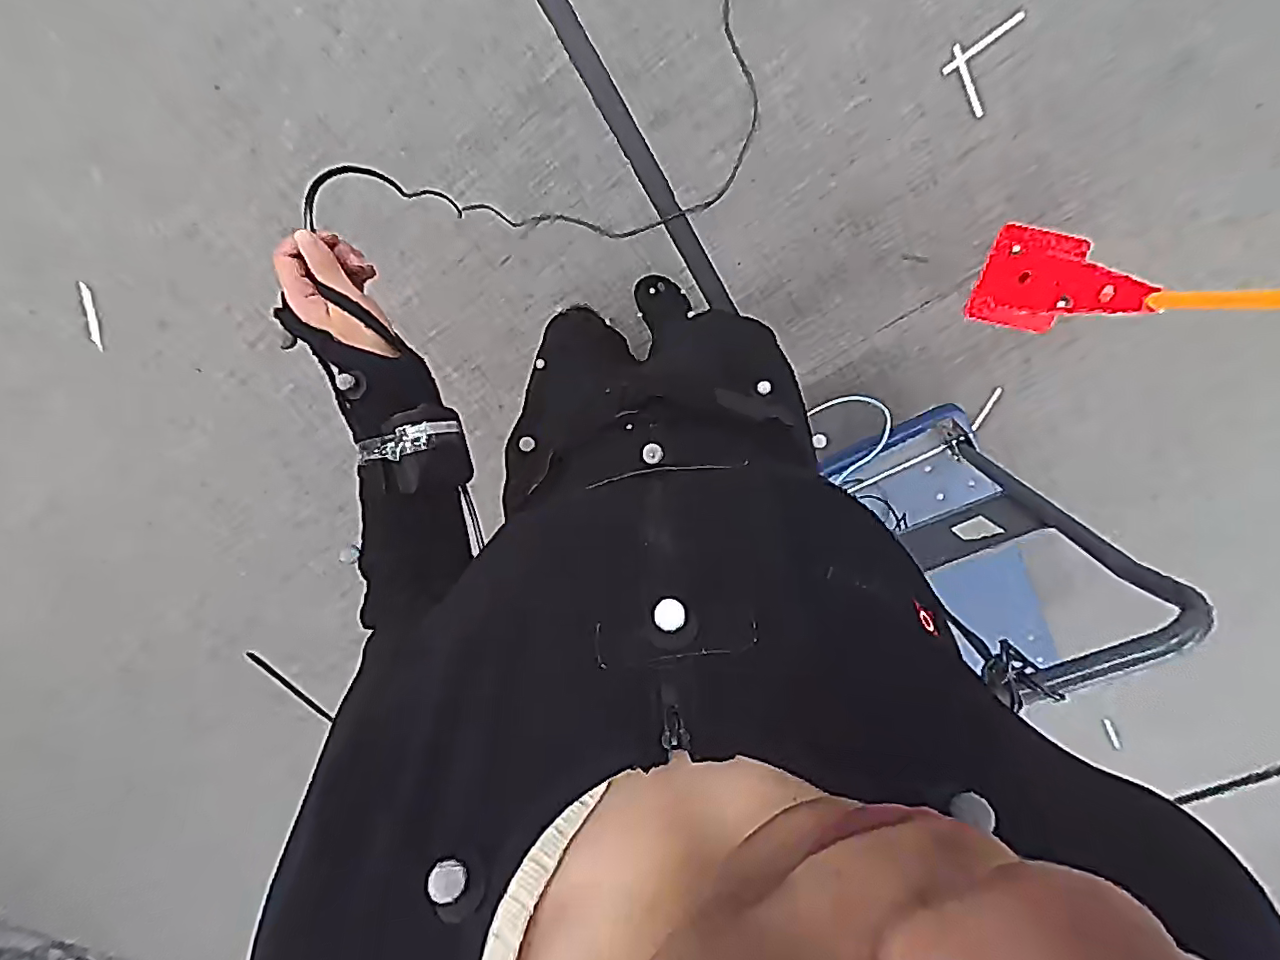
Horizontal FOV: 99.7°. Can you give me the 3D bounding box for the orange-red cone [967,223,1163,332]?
[{"bbox_3d":[0.831,-0.361,1.023,0.198,0.360,0.199,13,116,-2],"label":"orange-red cone"}]
